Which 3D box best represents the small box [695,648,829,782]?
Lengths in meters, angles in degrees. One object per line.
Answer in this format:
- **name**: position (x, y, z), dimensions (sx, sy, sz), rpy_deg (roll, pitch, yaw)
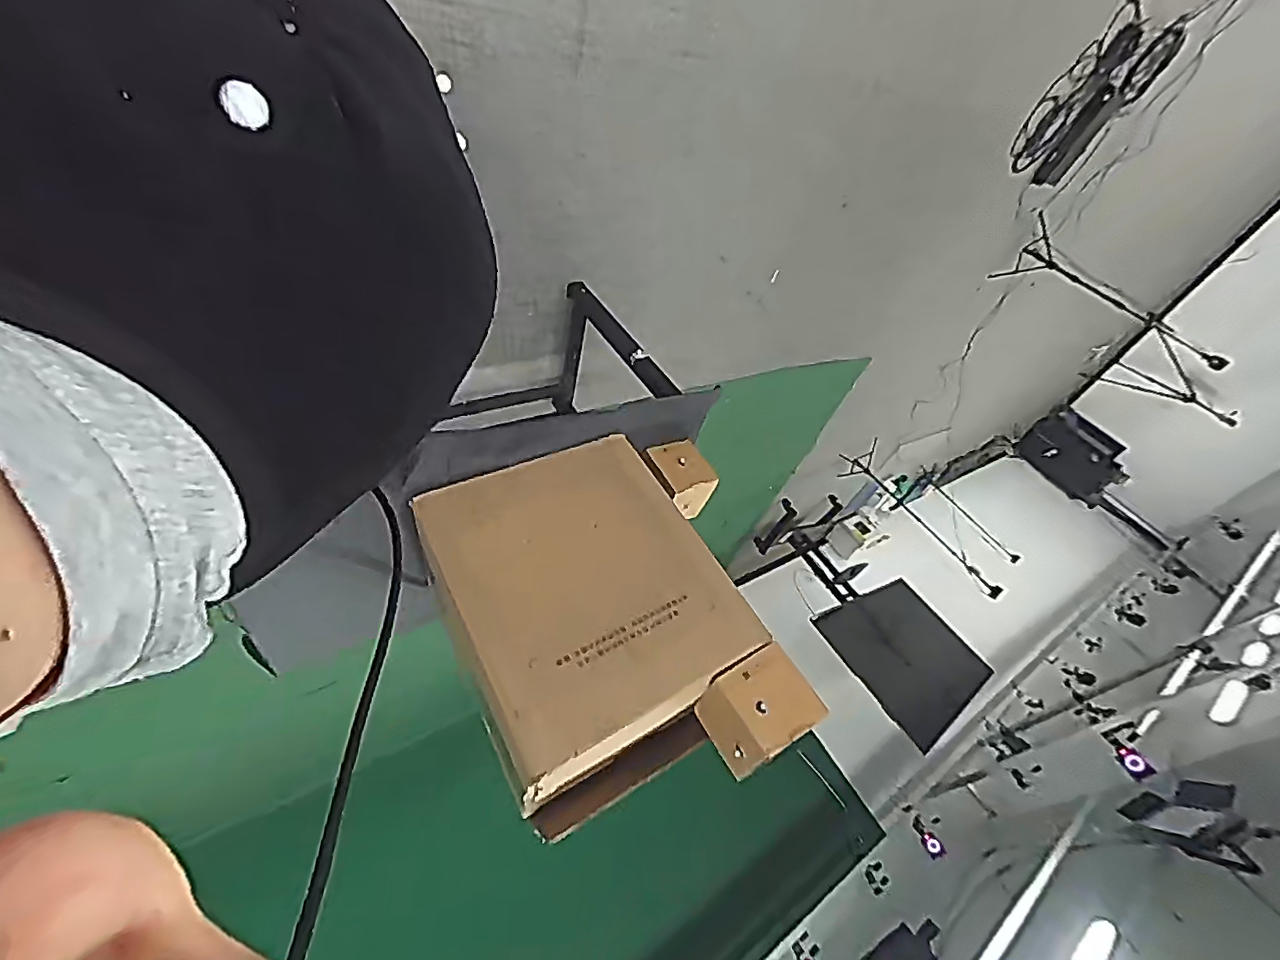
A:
- **small box**: position (0.233, 0.463, 1.083), dimensions (0.168, 0.176, 0.179), rpy_deg (-20, 148, -27)
